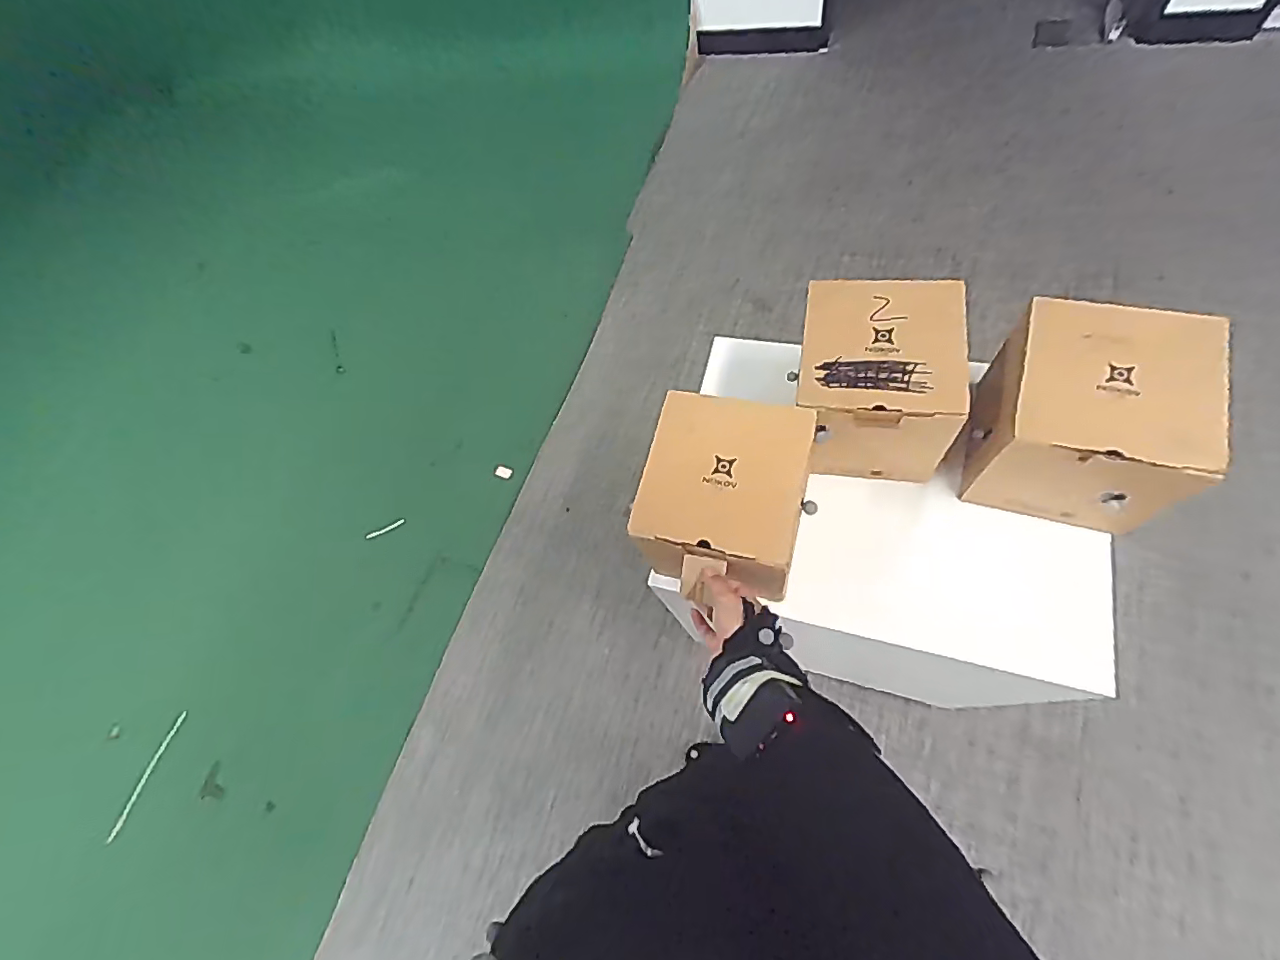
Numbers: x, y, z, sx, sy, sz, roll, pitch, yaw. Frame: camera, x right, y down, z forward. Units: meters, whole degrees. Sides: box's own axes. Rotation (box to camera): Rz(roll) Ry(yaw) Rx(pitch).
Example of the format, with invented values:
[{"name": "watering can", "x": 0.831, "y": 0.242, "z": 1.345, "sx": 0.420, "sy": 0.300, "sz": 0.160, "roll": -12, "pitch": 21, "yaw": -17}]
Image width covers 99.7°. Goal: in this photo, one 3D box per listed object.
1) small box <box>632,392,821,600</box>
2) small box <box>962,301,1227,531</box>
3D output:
[{"name": "small box", "x": 0.105, "y": 0.024, "z": 0.630, "sx": 0.168, "sy": 0.176, "sz": 0.179, "roll": 11, "pitch": 70, "yaw": 17}, {"name": "small box", "x": 0.474, "y": -0.062, "z": 0.589, "sx": 0.168, "sy": 0.176, "sz": 0.179, "roll": 14, "pitch": 69, "yaw": 17}]
